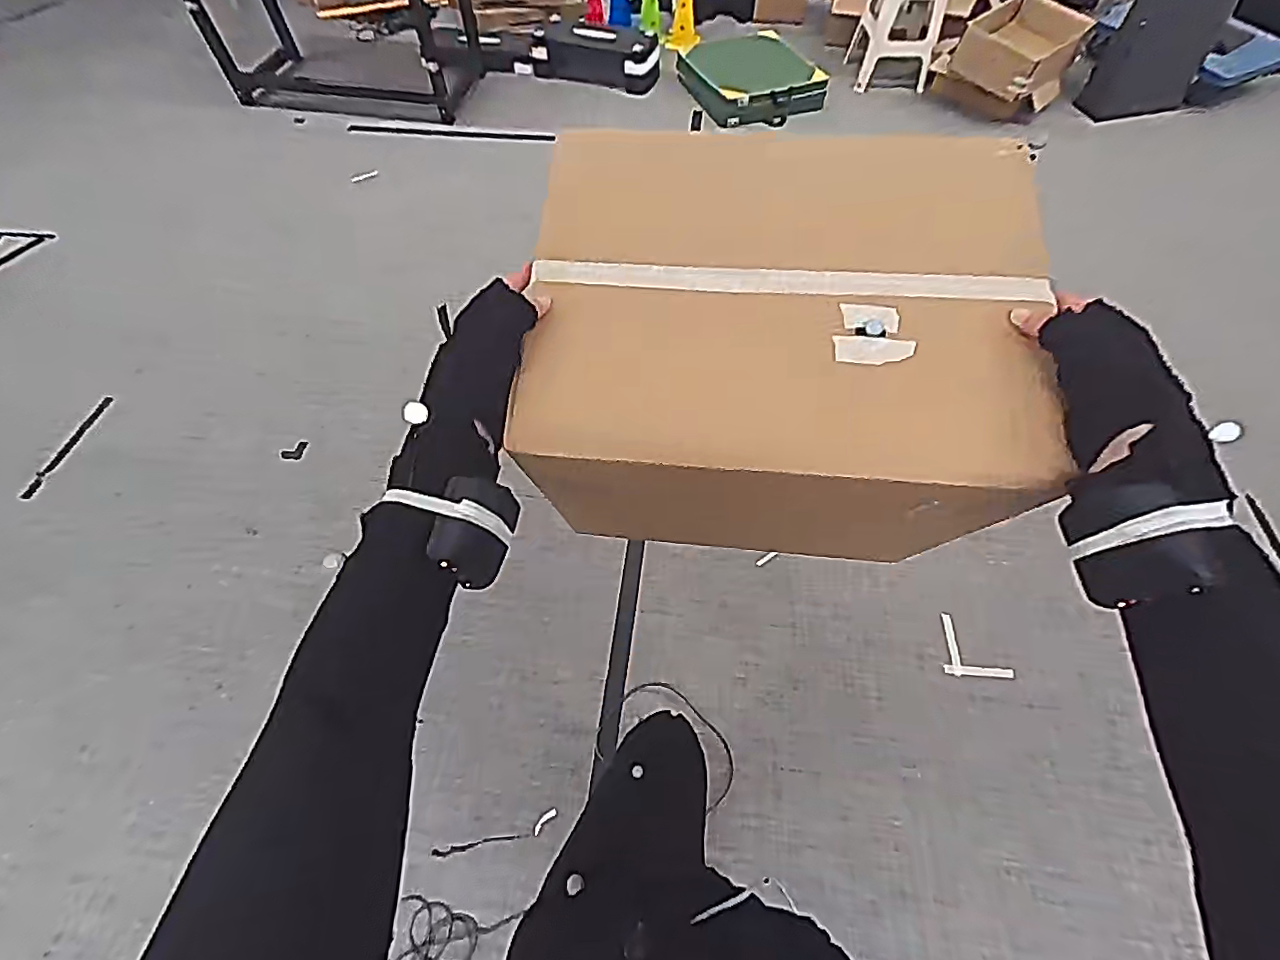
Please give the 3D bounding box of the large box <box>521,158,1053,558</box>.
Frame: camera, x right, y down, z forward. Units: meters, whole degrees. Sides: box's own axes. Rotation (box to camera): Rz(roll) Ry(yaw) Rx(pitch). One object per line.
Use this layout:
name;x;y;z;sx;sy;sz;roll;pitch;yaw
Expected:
large box;0.120;-0.102;0.589;0.408;0.320;0.320;4;73;5
